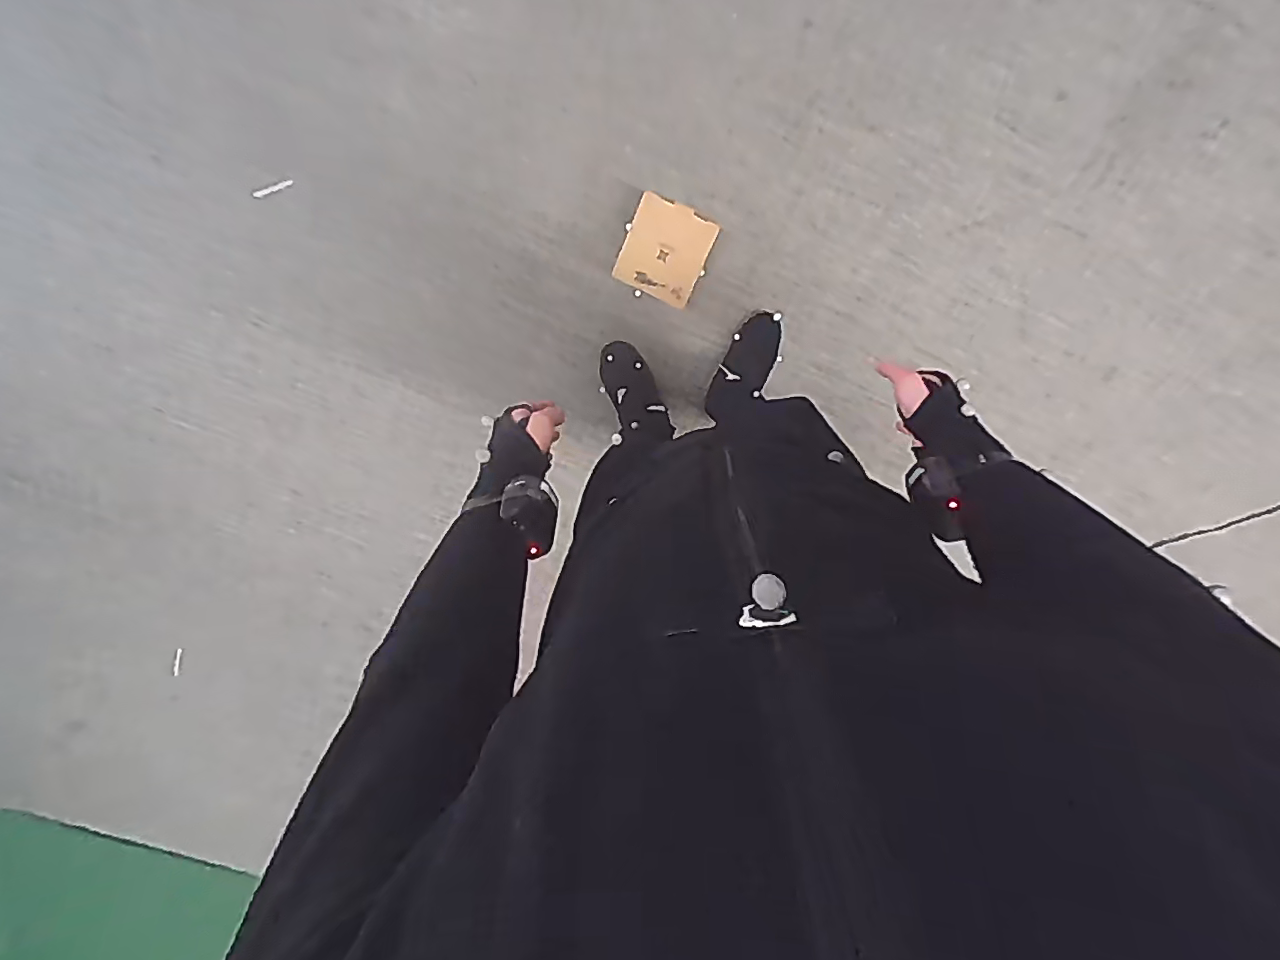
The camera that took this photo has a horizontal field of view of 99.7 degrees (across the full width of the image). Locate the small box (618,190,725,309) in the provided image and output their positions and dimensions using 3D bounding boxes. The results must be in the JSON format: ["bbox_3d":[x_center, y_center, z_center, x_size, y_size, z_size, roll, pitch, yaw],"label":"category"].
[{"bbox_3d":[0.064,-0.486,1.163,0.168,0.176,0.179,24,108,-5],"label":"small box"}]
